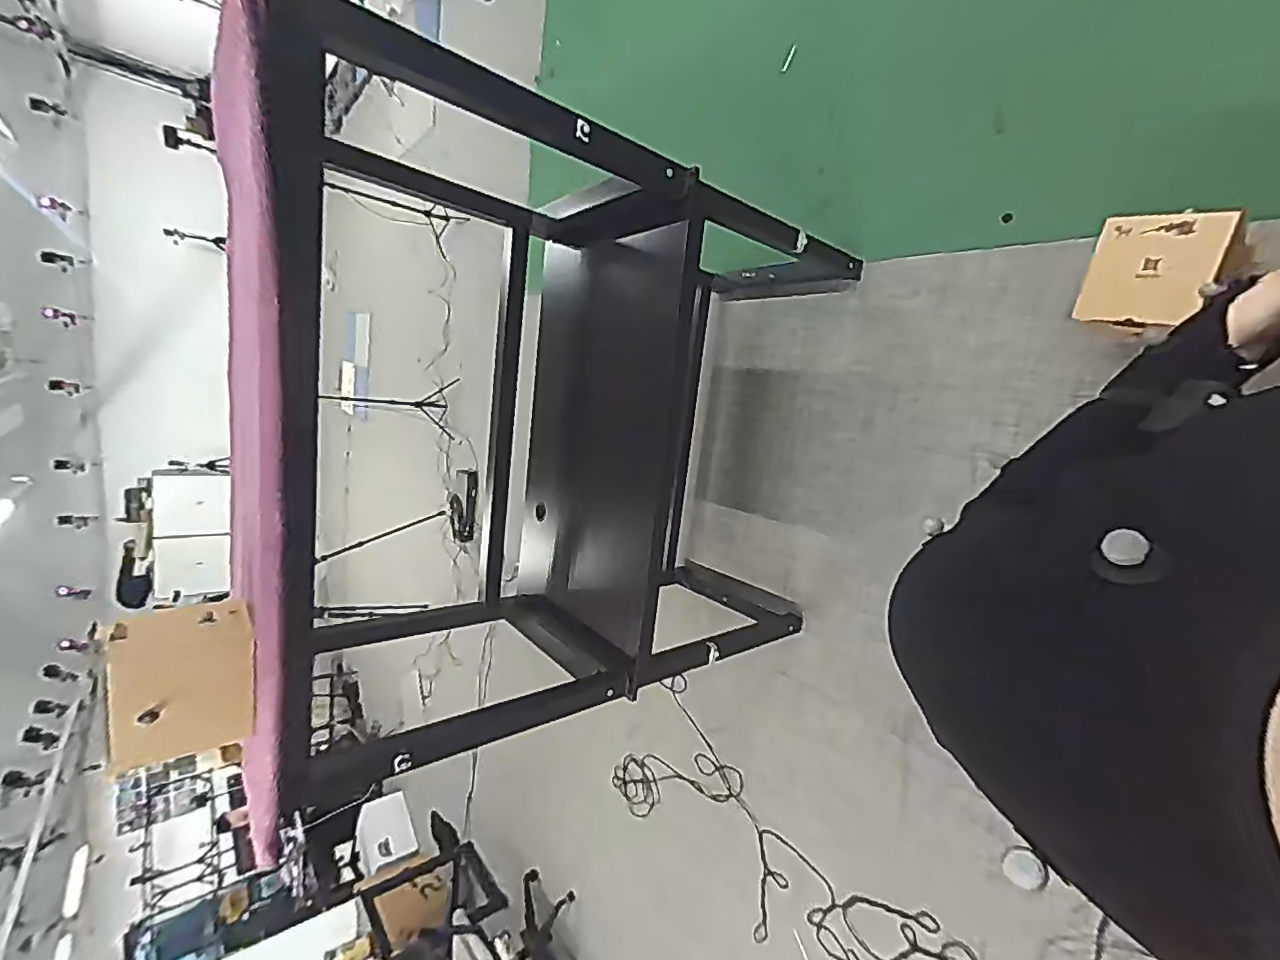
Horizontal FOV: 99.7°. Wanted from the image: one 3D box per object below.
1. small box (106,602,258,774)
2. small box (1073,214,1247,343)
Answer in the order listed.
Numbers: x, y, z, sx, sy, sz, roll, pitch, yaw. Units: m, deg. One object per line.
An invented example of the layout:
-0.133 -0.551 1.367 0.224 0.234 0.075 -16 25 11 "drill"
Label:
-0.708 0.309 0.847 0.168 0.176 0.179 15 102 48 "small box"
0.901 -0.342 0.937 0.168 0.176 0.179 27 111 47 "small box"
